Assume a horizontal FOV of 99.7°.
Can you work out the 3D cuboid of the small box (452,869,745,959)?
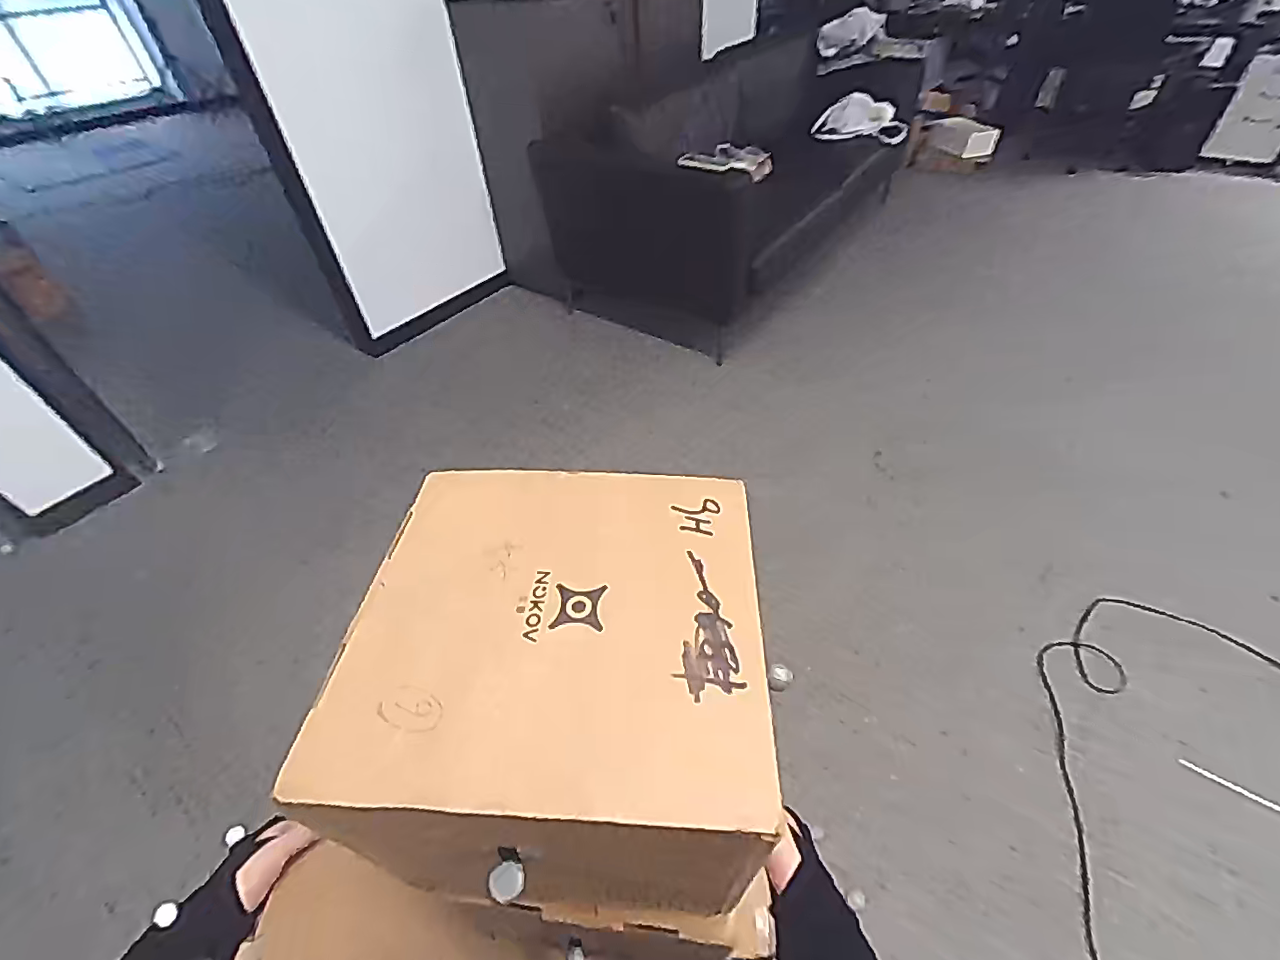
[{"bbox_3d":[-0.014,0.228,0.402,0.168,0.176,0.179,5,45,6],"label":"small box"}]

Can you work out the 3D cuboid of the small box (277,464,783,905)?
[{"bbox_3d":[-0.030,0.109,0.289,0.179,0.176,0.168,1,45,4],"label":"small box"}]
